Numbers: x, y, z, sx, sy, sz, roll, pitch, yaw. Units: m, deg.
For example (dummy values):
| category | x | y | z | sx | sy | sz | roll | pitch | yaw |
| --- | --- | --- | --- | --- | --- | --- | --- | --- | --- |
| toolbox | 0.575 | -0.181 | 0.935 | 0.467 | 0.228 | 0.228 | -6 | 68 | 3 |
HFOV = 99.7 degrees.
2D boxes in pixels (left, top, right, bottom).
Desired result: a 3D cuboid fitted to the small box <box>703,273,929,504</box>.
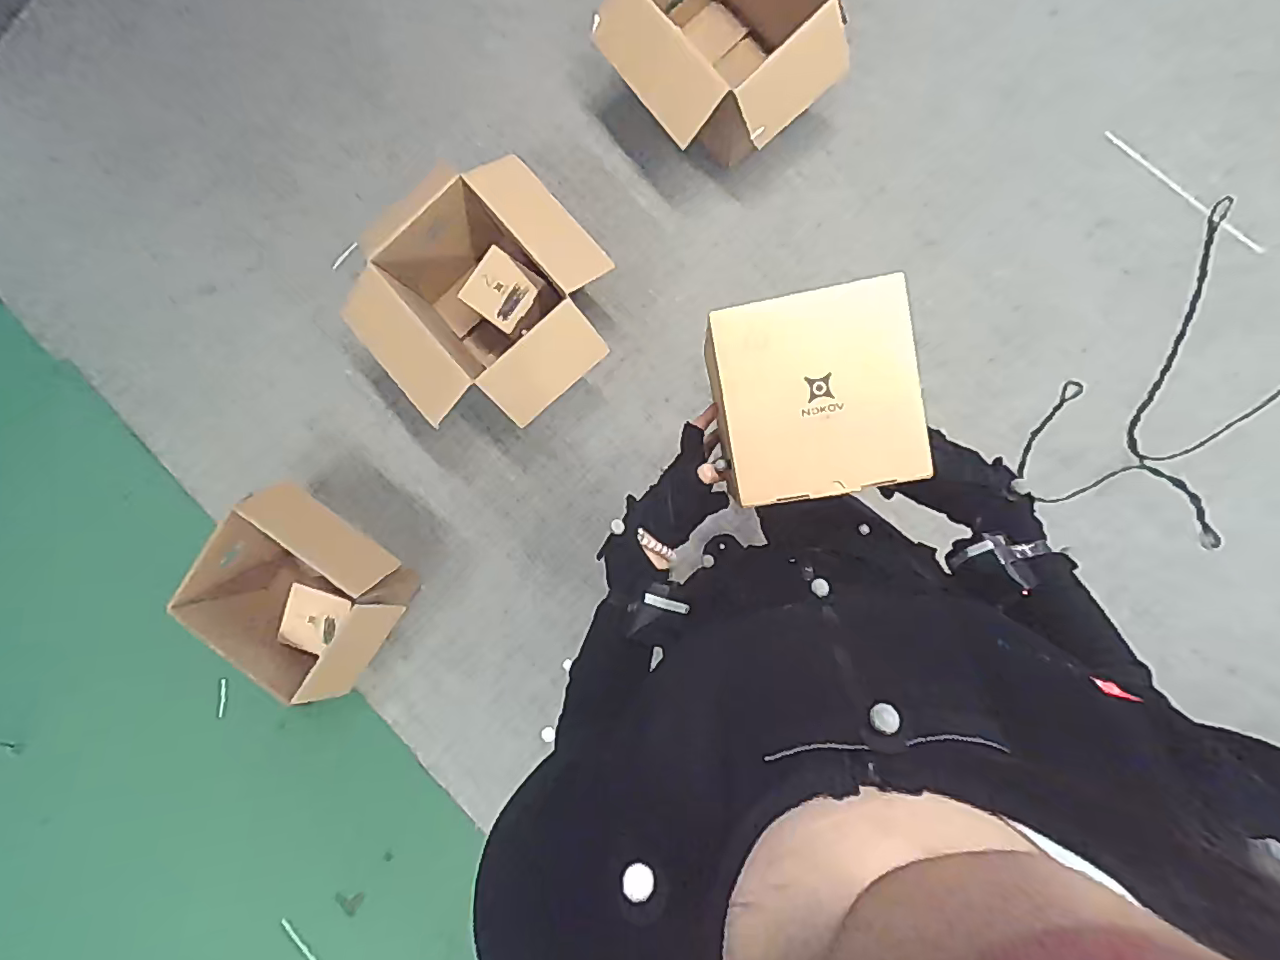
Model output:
| category | x | y | z | sx | sy | sz | roll | pitch | yaw |
| --- | --- | --- | --- | --- | --- | --- | --- | --- | --- |
| small box | 0.158 | -0.081 | 0.542 | 0.168 | 0.176 | 0.179 | -10 | 94 | 6 |
